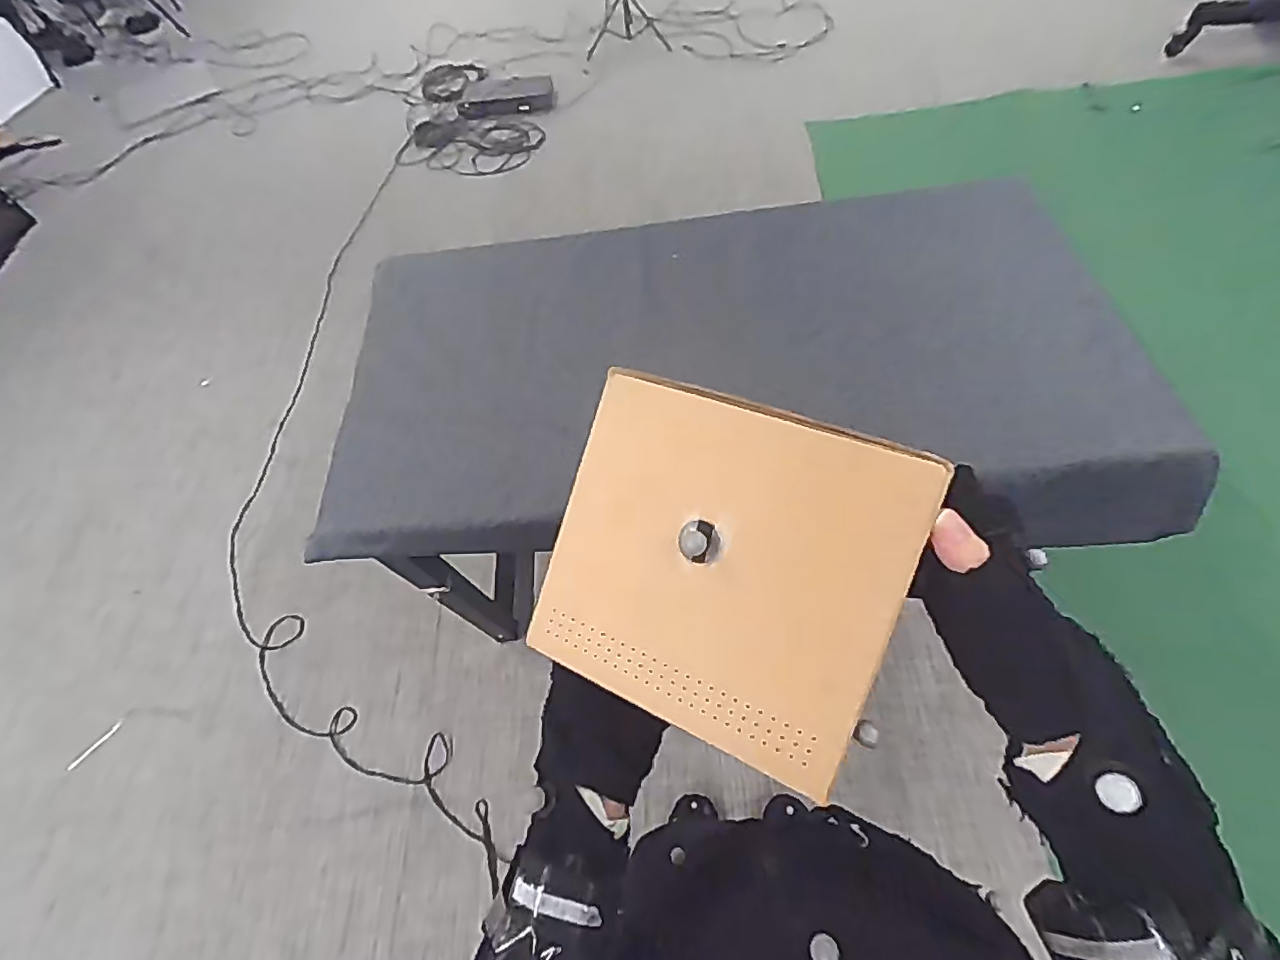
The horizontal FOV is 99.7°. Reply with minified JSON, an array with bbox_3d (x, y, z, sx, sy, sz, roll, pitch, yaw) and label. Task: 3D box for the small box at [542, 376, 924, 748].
[{"bbox_3d":[0.064,0.046,0.362,0.179,0.168,0.176,19,95,23],"label":"small box"}]
